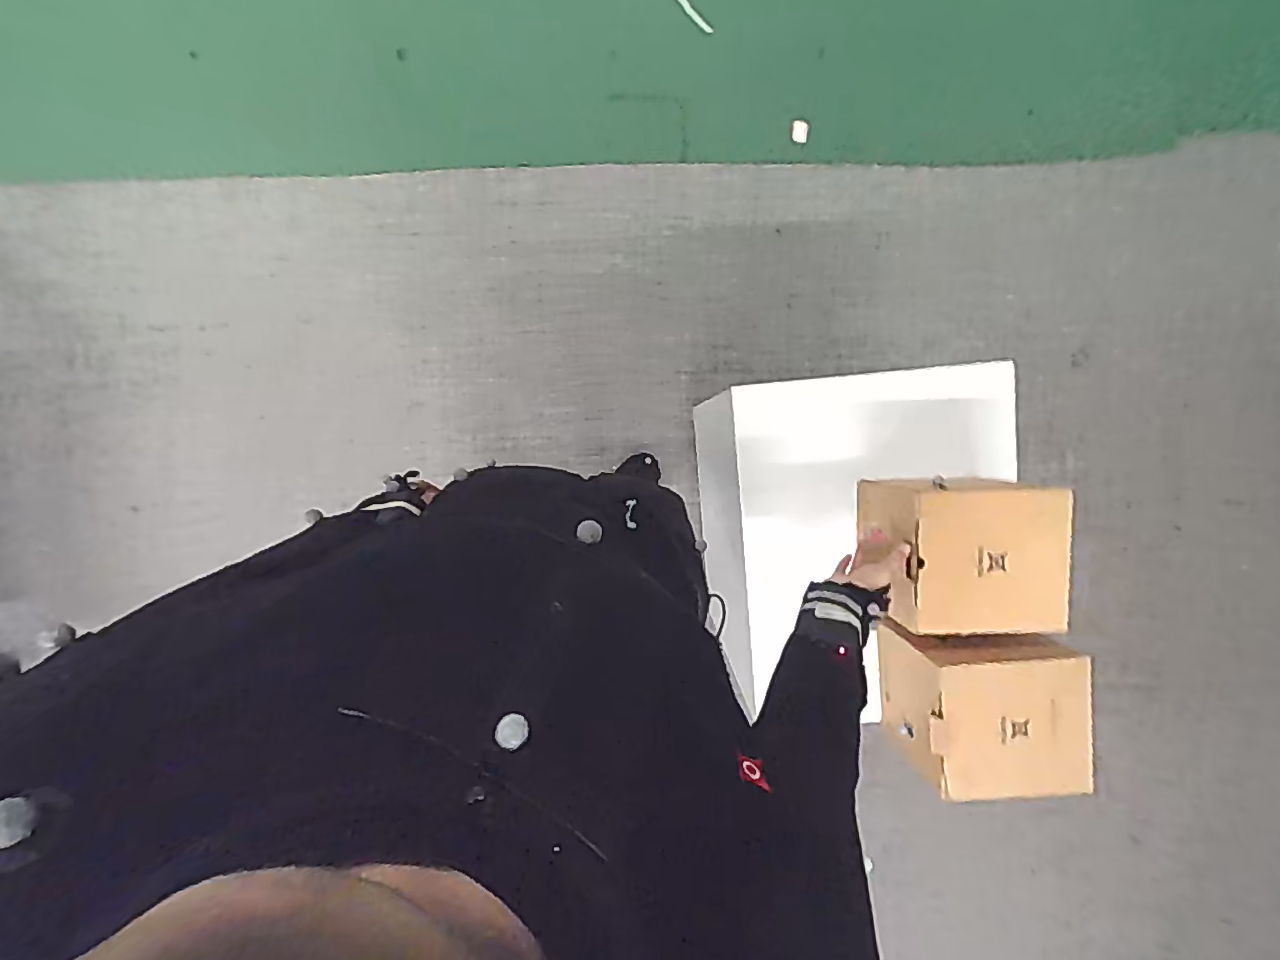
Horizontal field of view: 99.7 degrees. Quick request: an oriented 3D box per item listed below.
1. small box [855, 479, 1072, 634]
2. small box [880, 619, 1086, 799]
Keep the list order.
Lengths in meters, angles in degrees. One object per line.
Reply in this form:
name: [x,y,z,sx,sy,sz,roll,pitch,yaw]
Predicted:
small box: [0.398,0.087,0.692,0.179,0.176,0.168,-1,95,1]
small box: [0.430,0.281,0.707,0.179,0.176,0.168,-5,95,0]
